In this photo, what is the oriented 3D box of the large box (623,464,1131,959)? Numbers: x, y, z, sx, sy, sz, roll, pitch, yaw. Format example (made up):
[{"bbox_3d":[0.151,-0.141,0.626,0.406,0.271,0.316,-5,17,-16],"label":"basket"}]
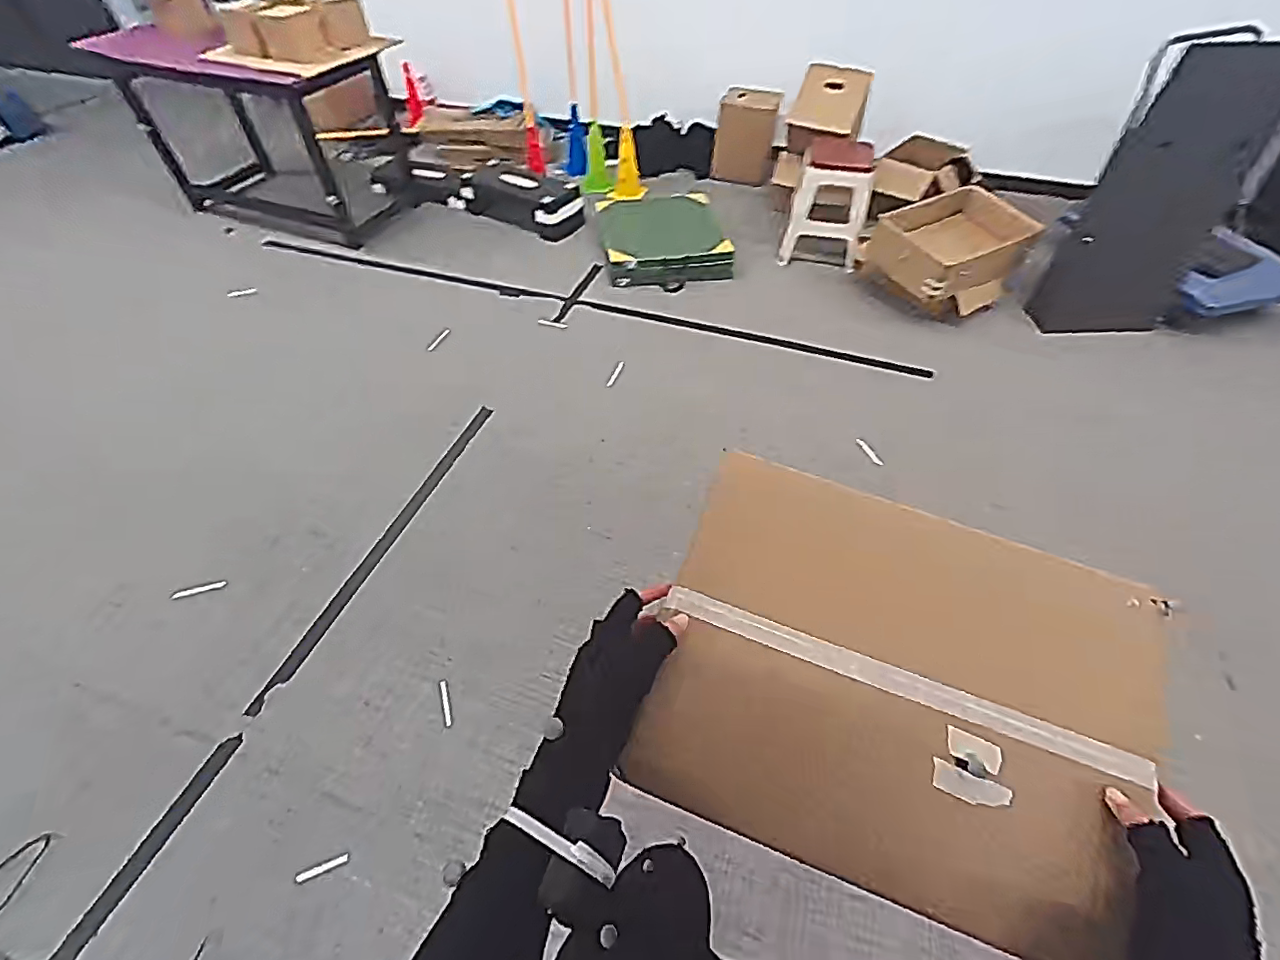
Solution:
[{"bbox_3d":[0.221,0.225,0.621,0.408,0.320,0.320,19,73,8],"label":"large box"}]
